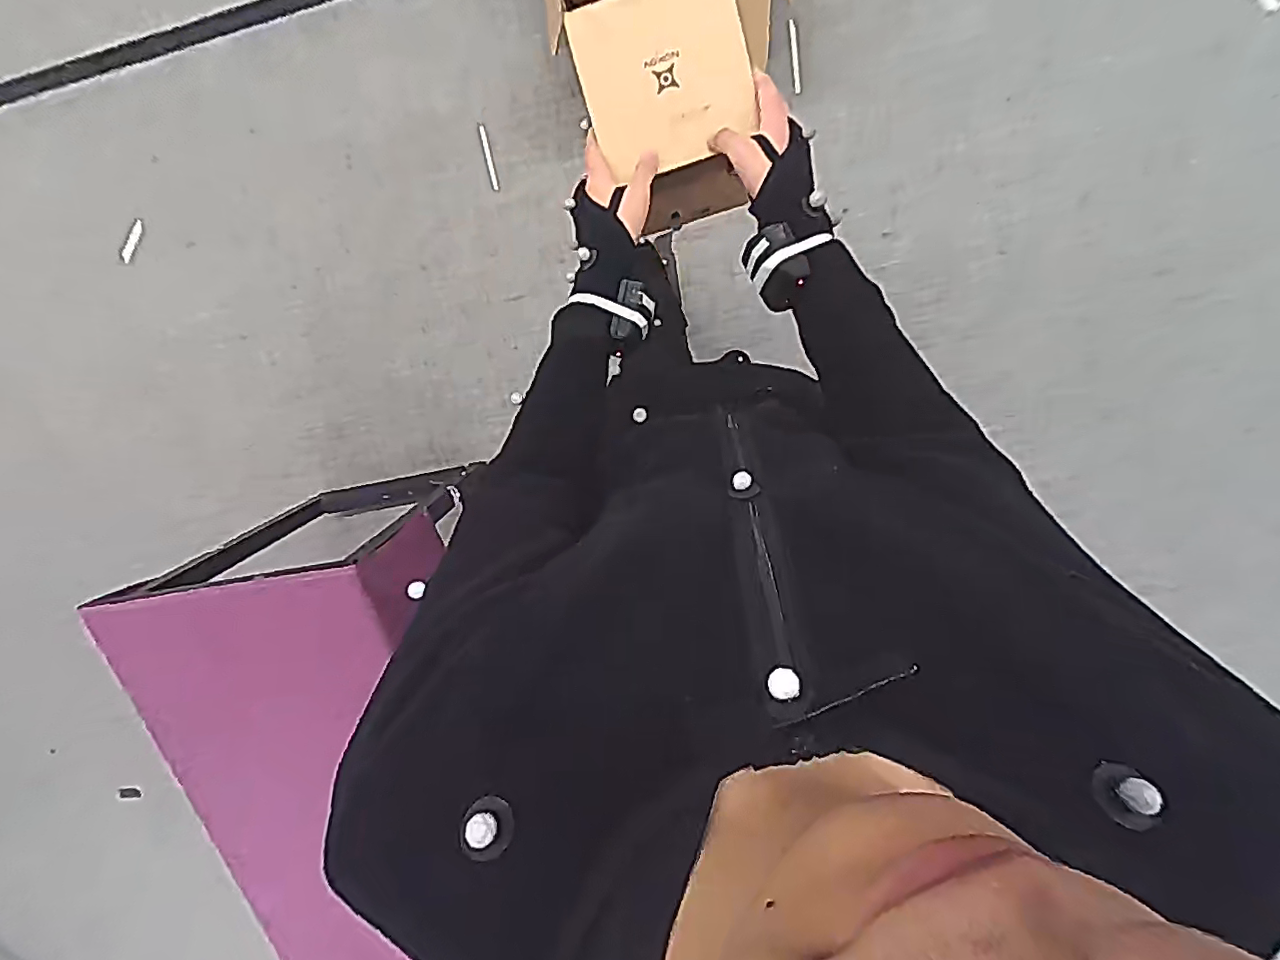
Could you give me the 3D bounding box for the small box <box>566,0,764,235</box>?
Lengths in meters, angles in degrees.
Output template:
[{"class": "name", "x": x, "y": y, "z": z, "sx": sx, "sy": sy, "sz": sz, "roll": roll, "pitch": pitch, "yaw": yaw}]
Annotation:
[{"class": "small box", "x": 0.031, "y": -0.413, "z": 0.614, "sx": 0.168, "sy": 0.176, "sz": 0.179, "roll": -15, "pitch": 94, "yaw": 7}]
